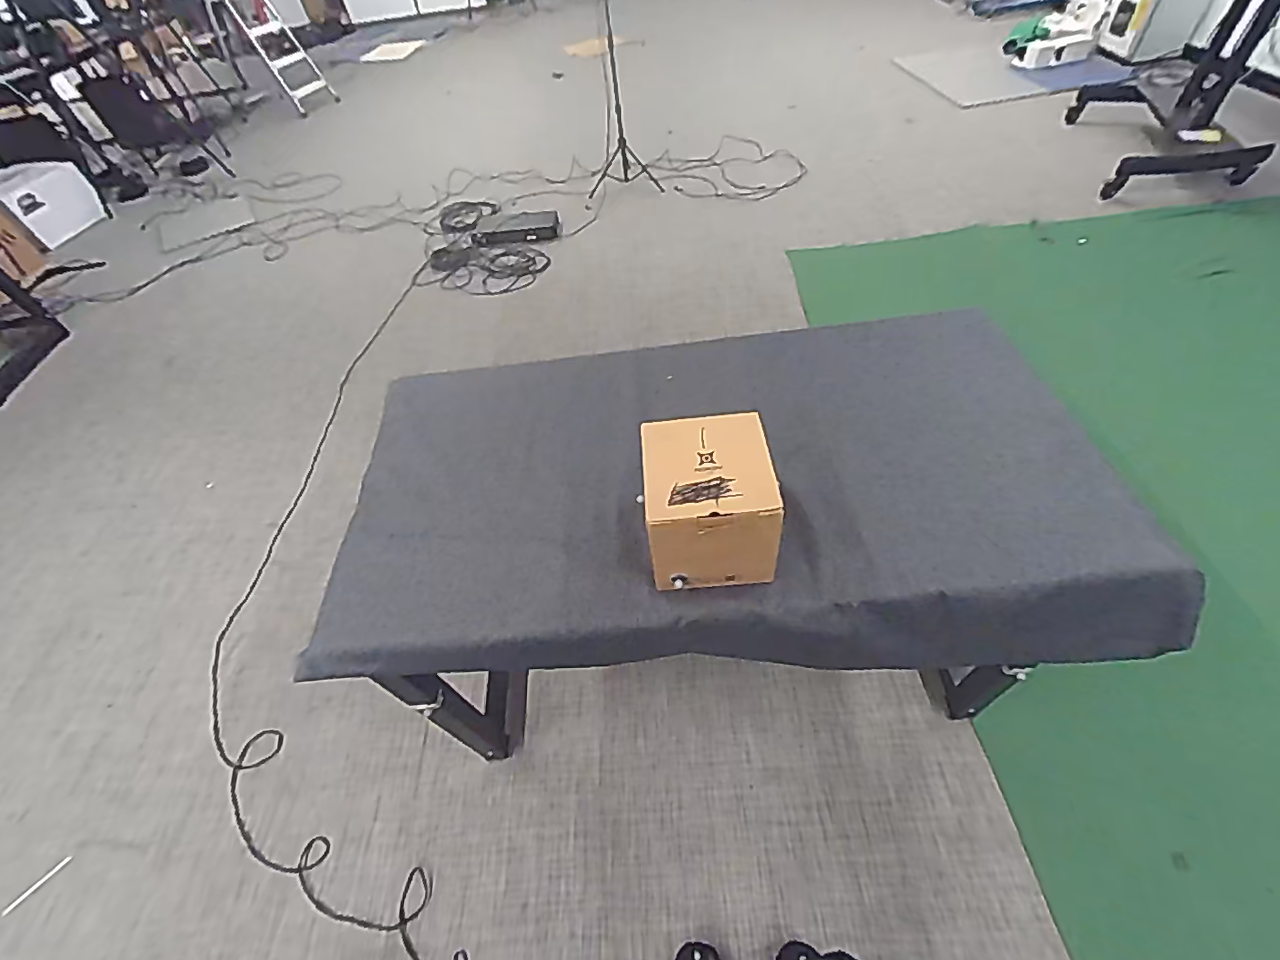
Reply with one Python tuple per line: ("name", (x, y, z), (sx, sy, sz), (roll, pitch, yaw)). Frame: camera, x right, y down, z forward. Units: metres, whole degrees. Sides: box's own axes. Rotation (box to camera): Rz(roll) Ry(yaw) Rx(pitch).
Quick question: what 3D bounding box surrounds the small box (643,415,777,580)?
("small box", (0.095, 0.032, 0.777), (0.168, 0.176, 0.179), (-5, 49, 3))
